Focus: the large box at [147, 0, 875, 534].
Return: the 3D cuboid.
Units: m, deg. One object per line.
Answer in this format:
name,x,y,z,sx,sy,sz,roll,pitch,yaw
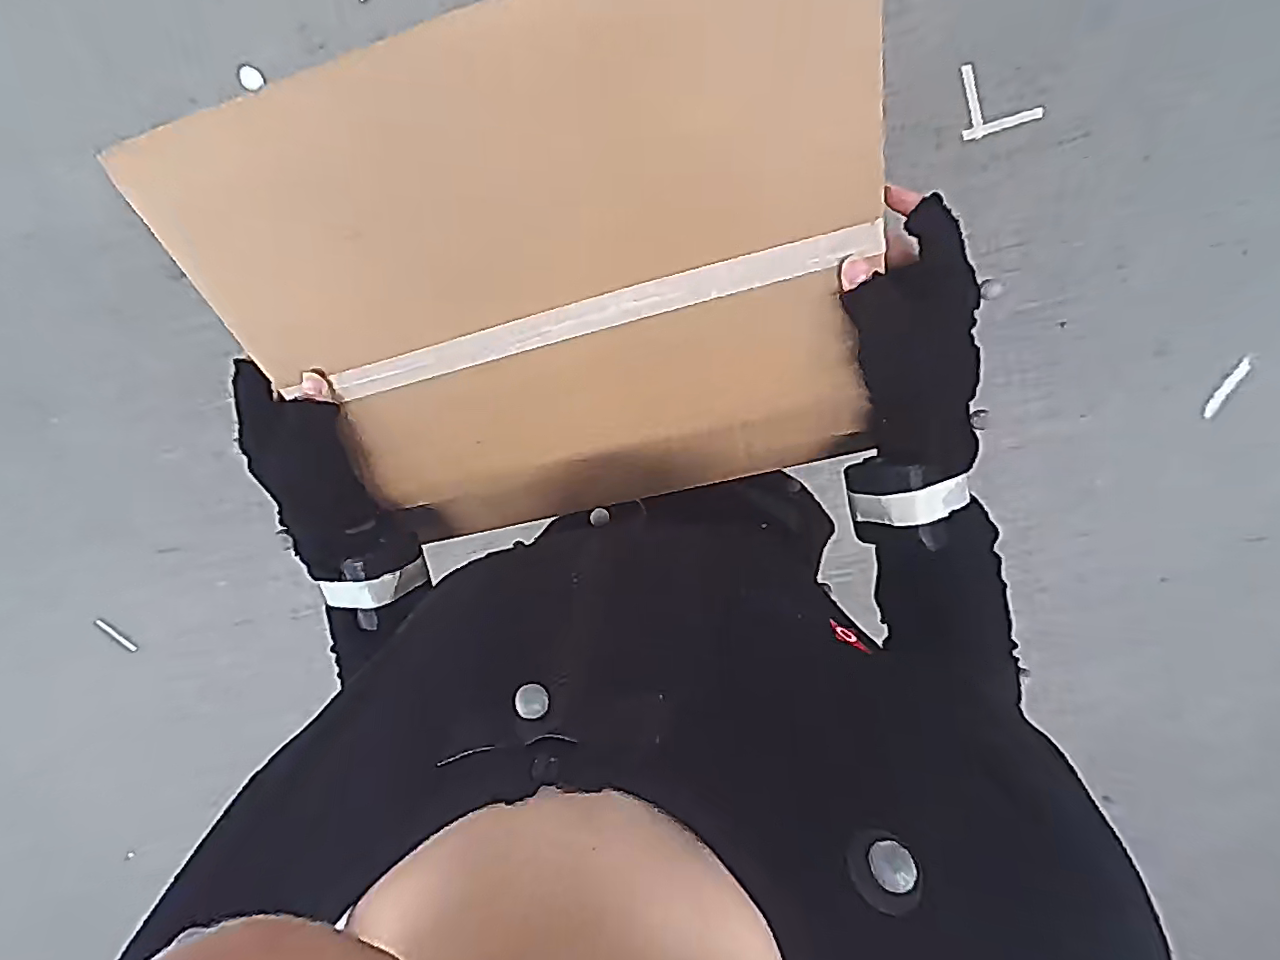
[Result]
large box,-0.053,-0.200,0.476,0.408,0.320,0.320,-12,129,10
